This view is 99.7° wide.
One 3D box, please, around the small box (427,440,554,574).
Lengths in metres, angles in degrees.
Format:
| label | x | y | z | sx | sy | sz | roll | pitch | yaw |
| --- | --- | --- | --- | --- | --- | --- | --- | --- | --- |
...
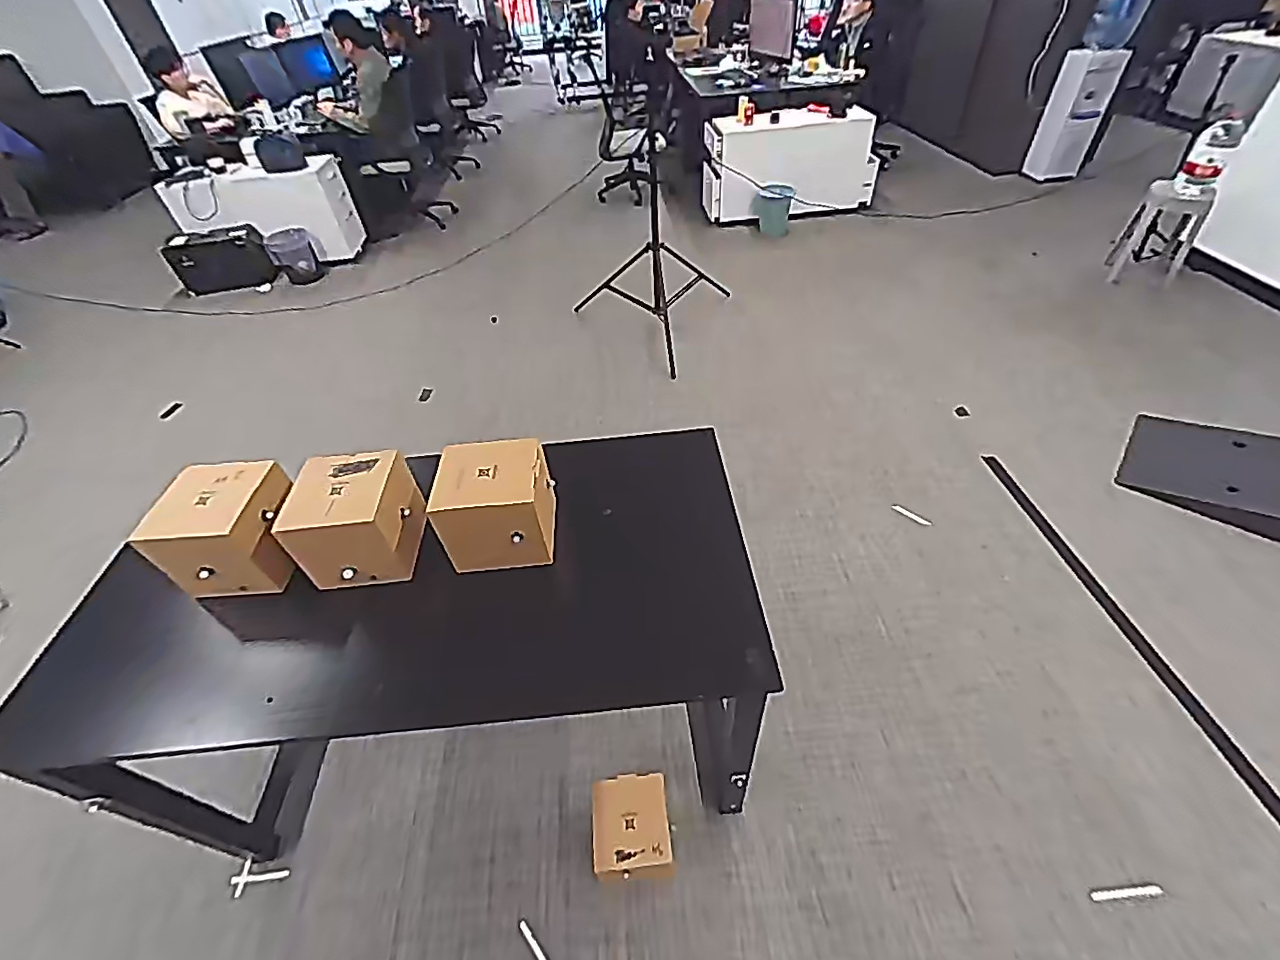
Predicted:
| label | x | y | z | sx | sy | sz | roll | pitch | yaw |
| --- | --- | --- | --- | --- | --- | --- | --- | --- | --- |
| small box | -0.255 | 0.050 | 0.977 | 0.179 | 0.176 | 0.168 | -7 | 43 | 0 |

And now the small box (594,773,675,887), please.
| label | x | y | z | sx | sy | sz | roll | pitch | yaw |
| --- | --- | --- | --- | --- | --- | --- | --- | --- | --- |
| small box | -0.014 | 0.797 | 1.232 | 0.168 | 0.176 | 0.179 | -7 | 44 | -1 |

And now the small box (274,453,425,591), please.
| label | x | y | z | sx | sy | sz | roll | pitch | yaw |
| --- | --- | --- | --- | --- | --- | --- | --- | --- | --- |
| small box | -0.502 | 0.075 | 0.971 | 0.168 | 0.176 | 0.179 | -7 | 46 | -2 |

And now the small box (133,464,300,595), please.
| label | x | y | z | sx | sy | sz | roll | pitch | yaw |
| --- | --- | --- | --- | --- | --- | --- | --- | --- | --- |
| small box | -0.726 | 0.095 | 0.973 | 0.168 | 0.176 | 0.179 | -3 | 44 | 1 |
